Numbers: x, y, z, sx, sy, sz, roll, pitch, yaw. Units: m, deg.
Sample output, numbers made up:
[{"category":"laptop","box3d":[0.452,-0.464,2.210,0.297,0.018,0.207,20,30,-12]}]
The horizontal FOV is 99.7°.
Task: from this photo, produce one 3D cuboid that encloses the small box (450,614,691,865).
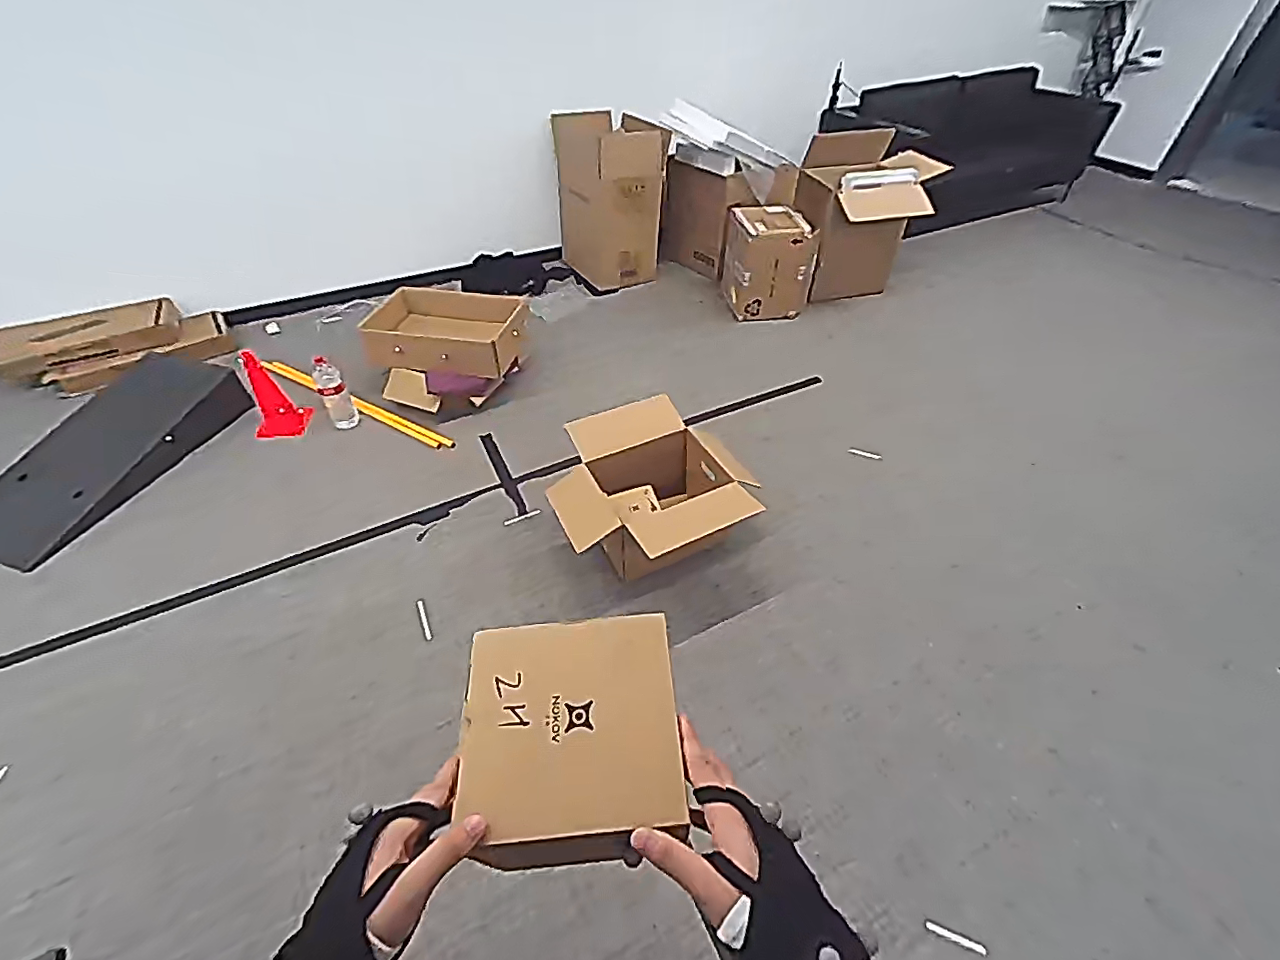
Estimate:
[{"category":"small box","box3d":[-0.052,0.242,0.498,0.179,0.176,0.168,-6,49,0]}]
